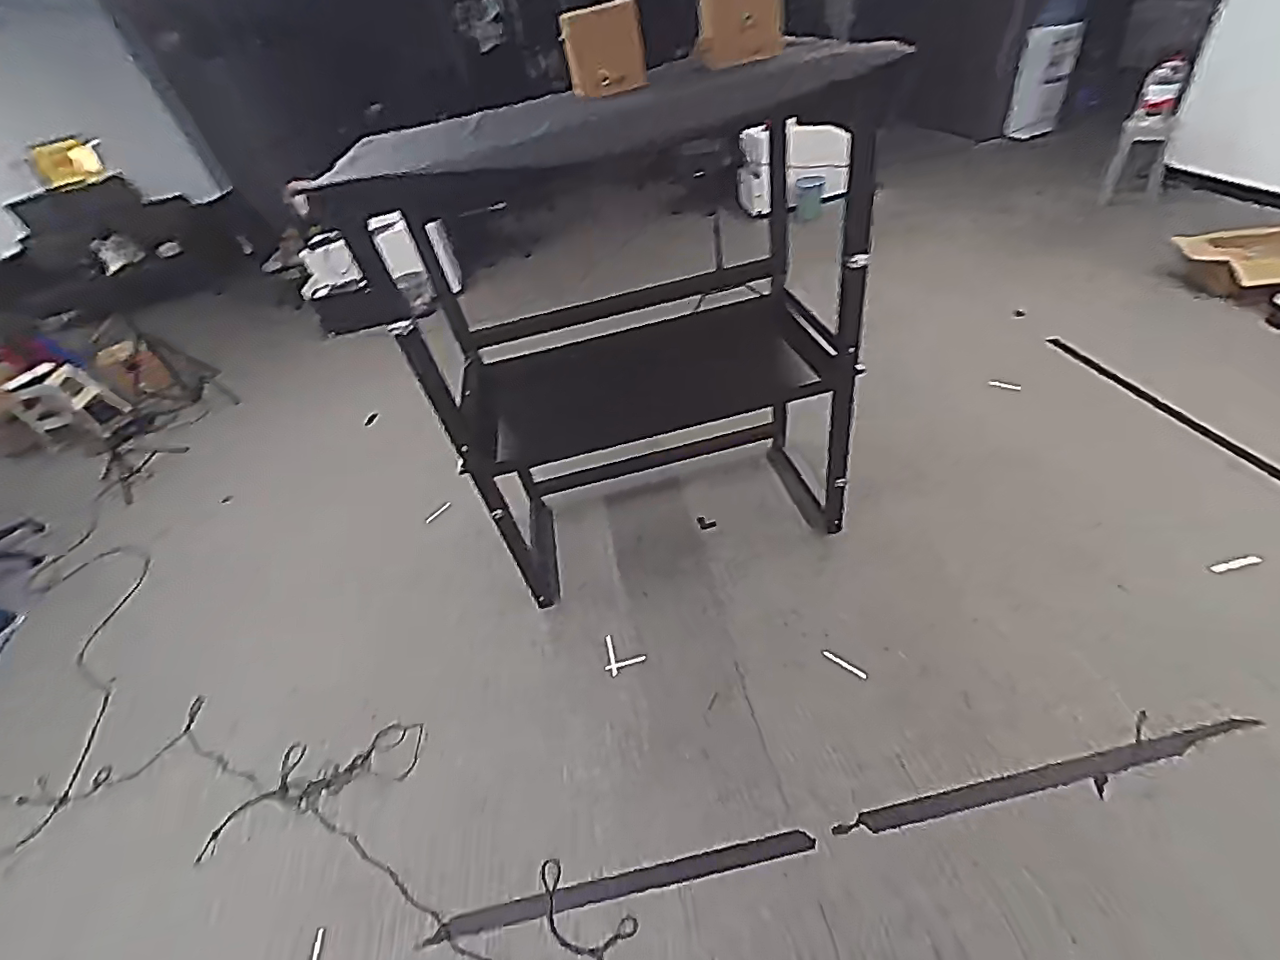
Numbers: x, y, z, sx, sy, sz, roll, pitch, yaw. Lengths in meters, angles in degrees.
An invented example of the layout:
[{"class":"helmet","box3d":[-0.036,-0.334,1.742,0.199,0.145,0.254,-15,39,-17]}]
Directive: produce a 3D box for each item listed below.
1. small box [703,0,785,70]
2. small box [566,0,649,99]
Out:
[{"class":"small box","box3d":[0.251,-1.119,1.311,0.168,0.176,0.179,-10,44,4]},{"class":"small box","box3d":[-0.082,-1.069,1.345,0.168,0.176,0.179,-15,42,0]}]
